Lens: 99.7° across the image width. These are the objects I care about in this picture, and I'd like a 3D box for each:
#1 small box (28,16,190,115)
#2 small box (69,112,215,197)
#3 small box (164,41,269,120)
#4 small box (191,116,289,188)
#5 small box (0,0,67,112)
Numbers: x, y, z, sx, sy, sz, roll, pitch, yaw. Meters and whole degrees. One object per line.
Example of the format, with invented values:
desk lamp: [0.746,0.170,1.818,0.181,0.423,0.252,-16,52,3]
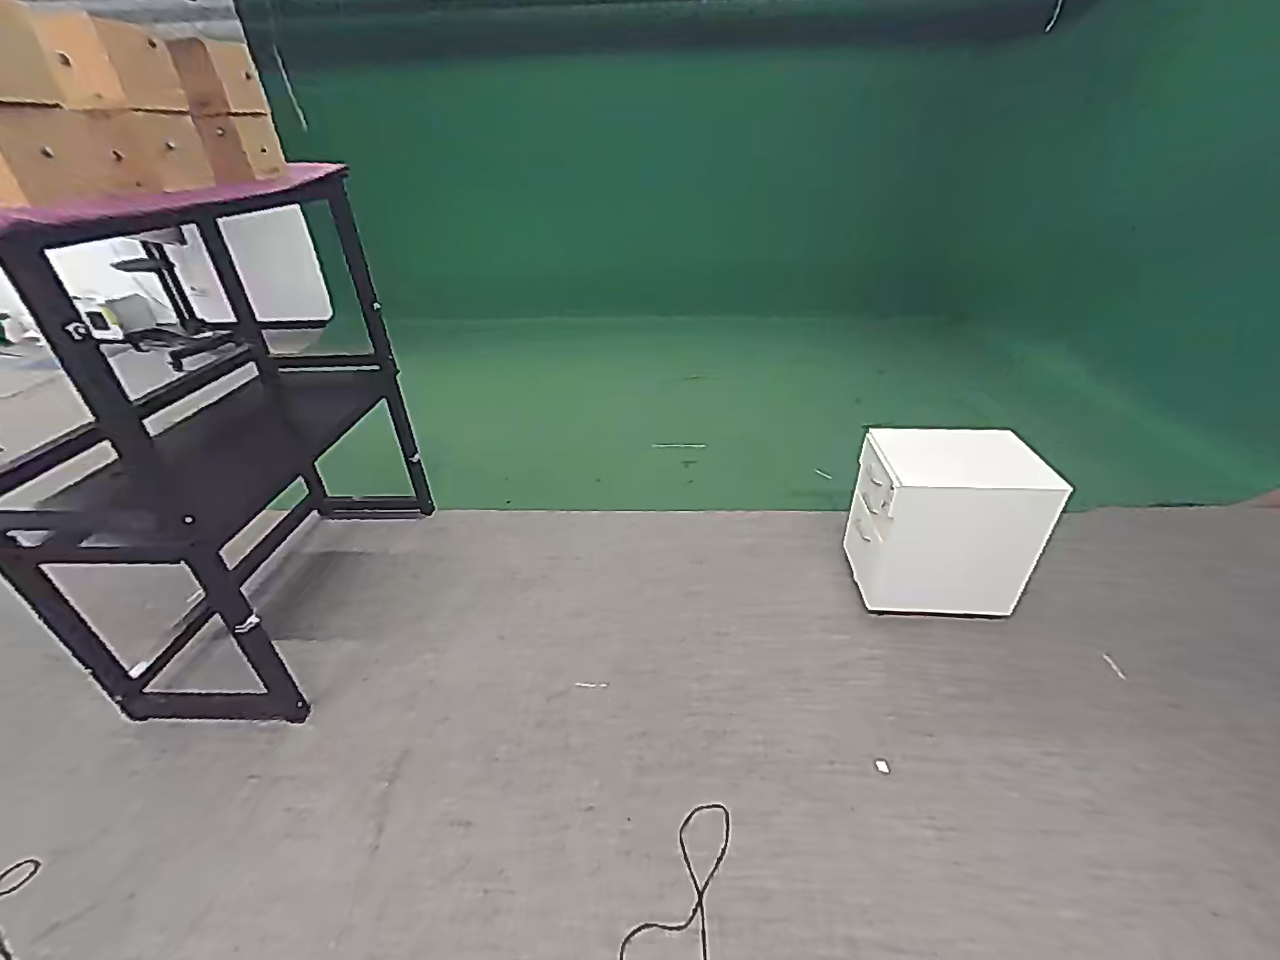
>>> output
small box: [-1.201,-0.935,1.241,0.168,0.176,0.179,2,31,6]
small box: [-1.202,-0.795,1.325,0.168,0.176,0.179,1,33,3]
small box: [-1.191,-1.113,1.519,0.168,0.176,0.179,-2,35,5]
small box: [-1.197,-0.980,1.612,0.179,0.176,0.168,0,33,5]
small box: [-1.193,-0.754,0.948,0.168,0.176,0.179,-1,32,-1]
